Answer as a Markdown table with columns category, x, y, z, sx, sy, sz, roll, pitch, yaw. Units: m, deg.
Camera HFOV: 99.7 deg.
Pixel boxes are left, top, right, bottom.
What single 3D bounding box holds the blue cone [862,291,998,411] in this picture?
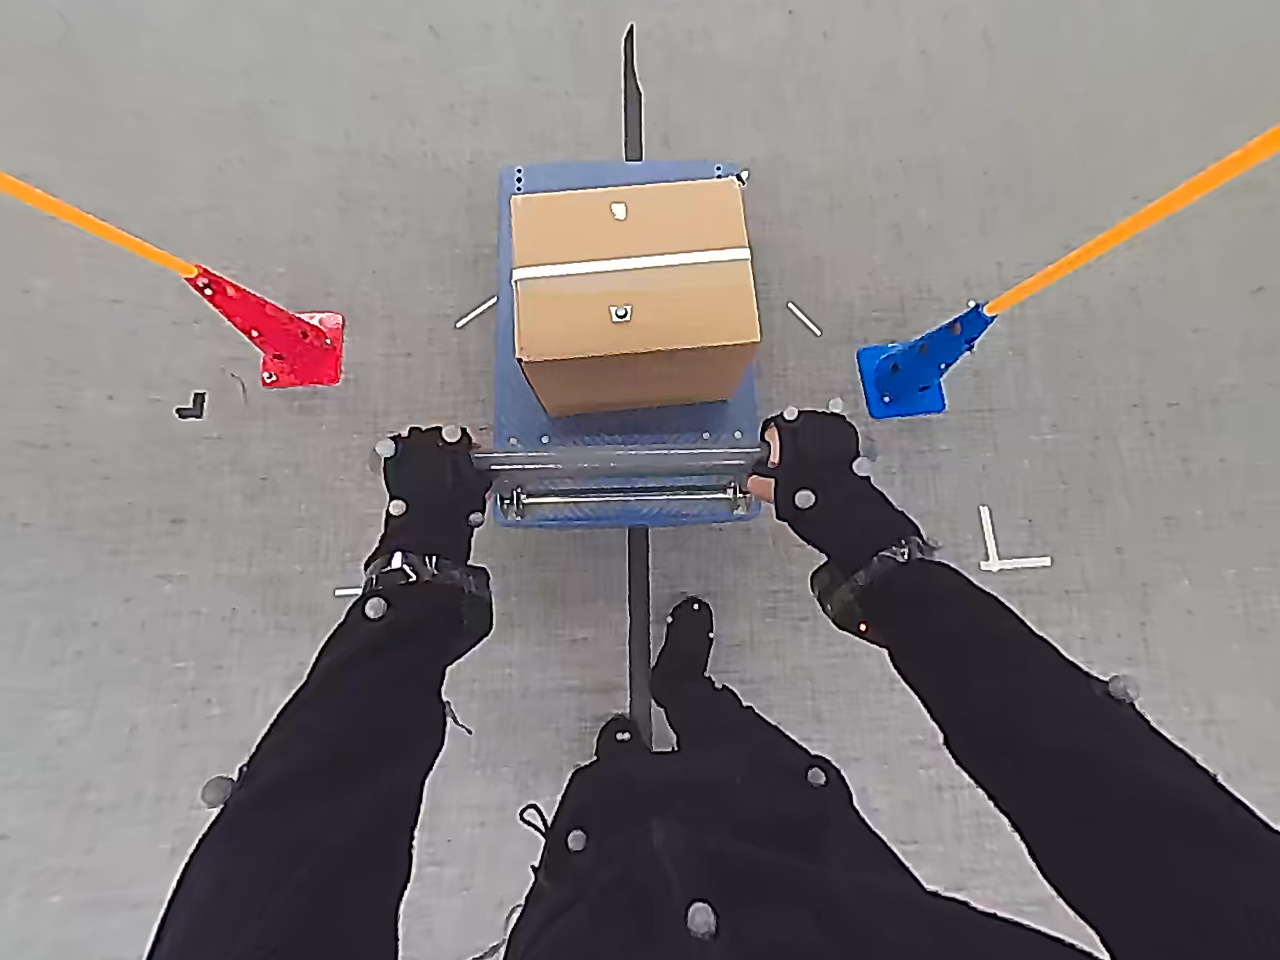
| category | x | y | z | sx | sy | sz | roll | pitch | yaw |
| --- | --- | --- | --- | --- | --- | --- | --- | --- | --- |
| blue cone | 0.679 | -0.304 | 1.228 | 0.193 | 0.380 | 0.192 | -5 | 78 | -2 |
